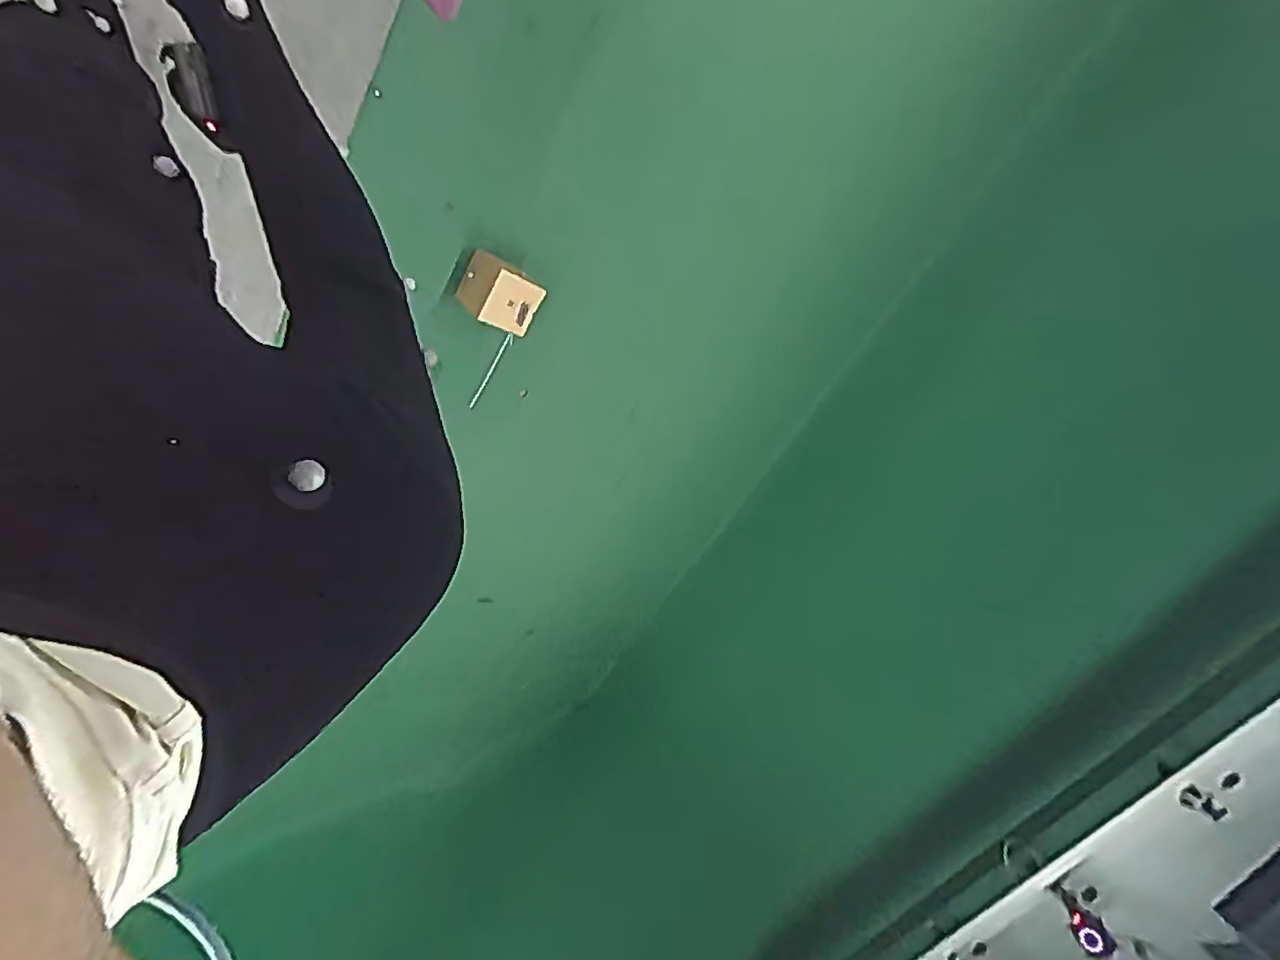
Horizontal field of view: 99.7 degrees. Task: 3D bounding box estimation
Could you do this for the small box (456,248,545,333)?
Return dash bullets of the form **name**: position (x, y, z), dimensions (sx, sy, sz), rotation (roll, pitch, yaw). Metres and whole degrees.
- **small box**: position (-0.434, -0.590, 1.676), dimensions (0.179, 0.176, 0.168), rotation (9, 120, -51)
